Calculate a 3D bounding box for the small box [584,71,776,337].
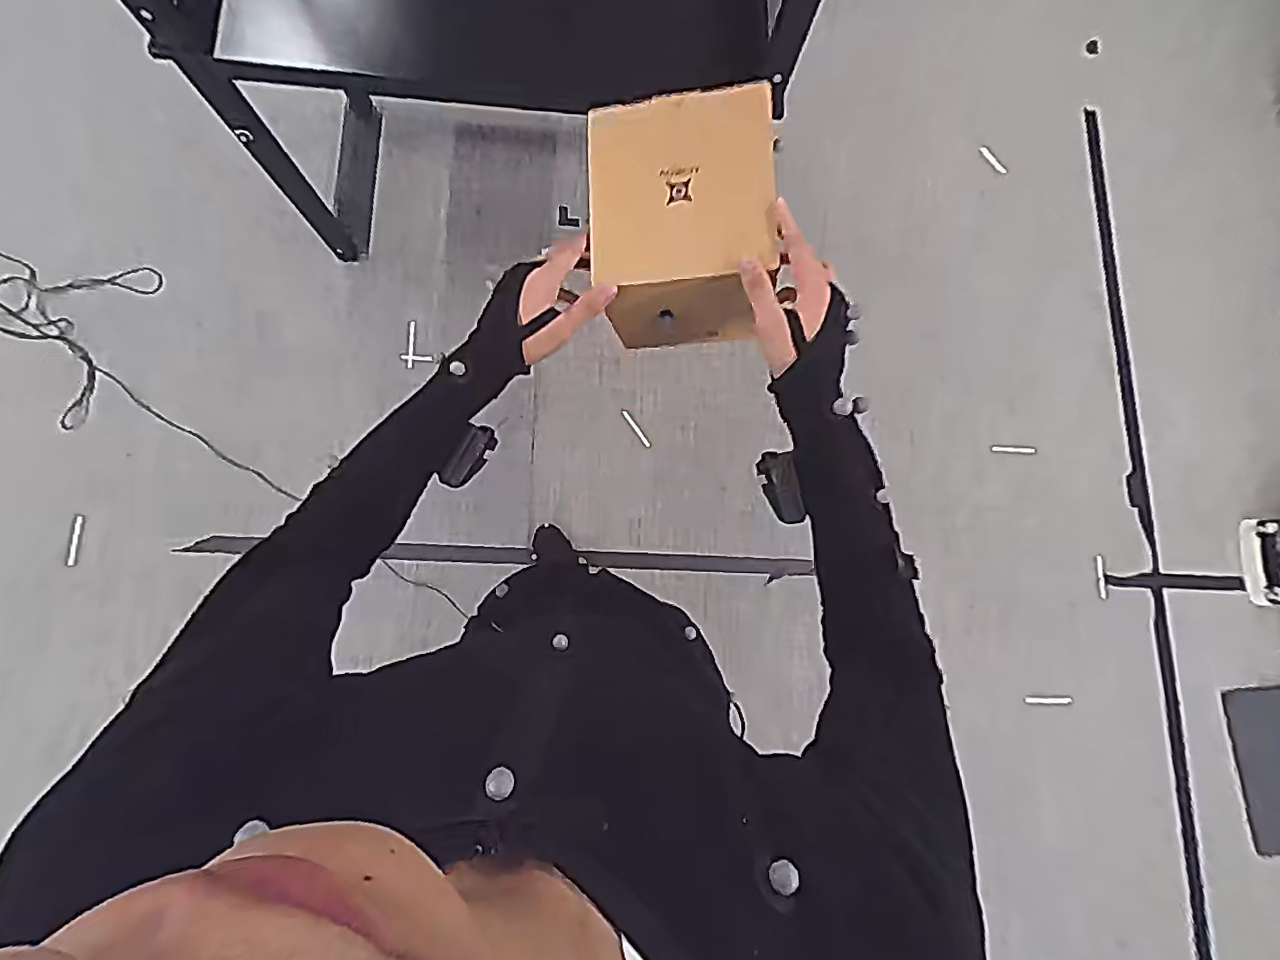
[{"bbox_3d":[0.046,-0.254,0.546,0.168,0.176,0.179,-3,84,9],"label":"small box"}]
